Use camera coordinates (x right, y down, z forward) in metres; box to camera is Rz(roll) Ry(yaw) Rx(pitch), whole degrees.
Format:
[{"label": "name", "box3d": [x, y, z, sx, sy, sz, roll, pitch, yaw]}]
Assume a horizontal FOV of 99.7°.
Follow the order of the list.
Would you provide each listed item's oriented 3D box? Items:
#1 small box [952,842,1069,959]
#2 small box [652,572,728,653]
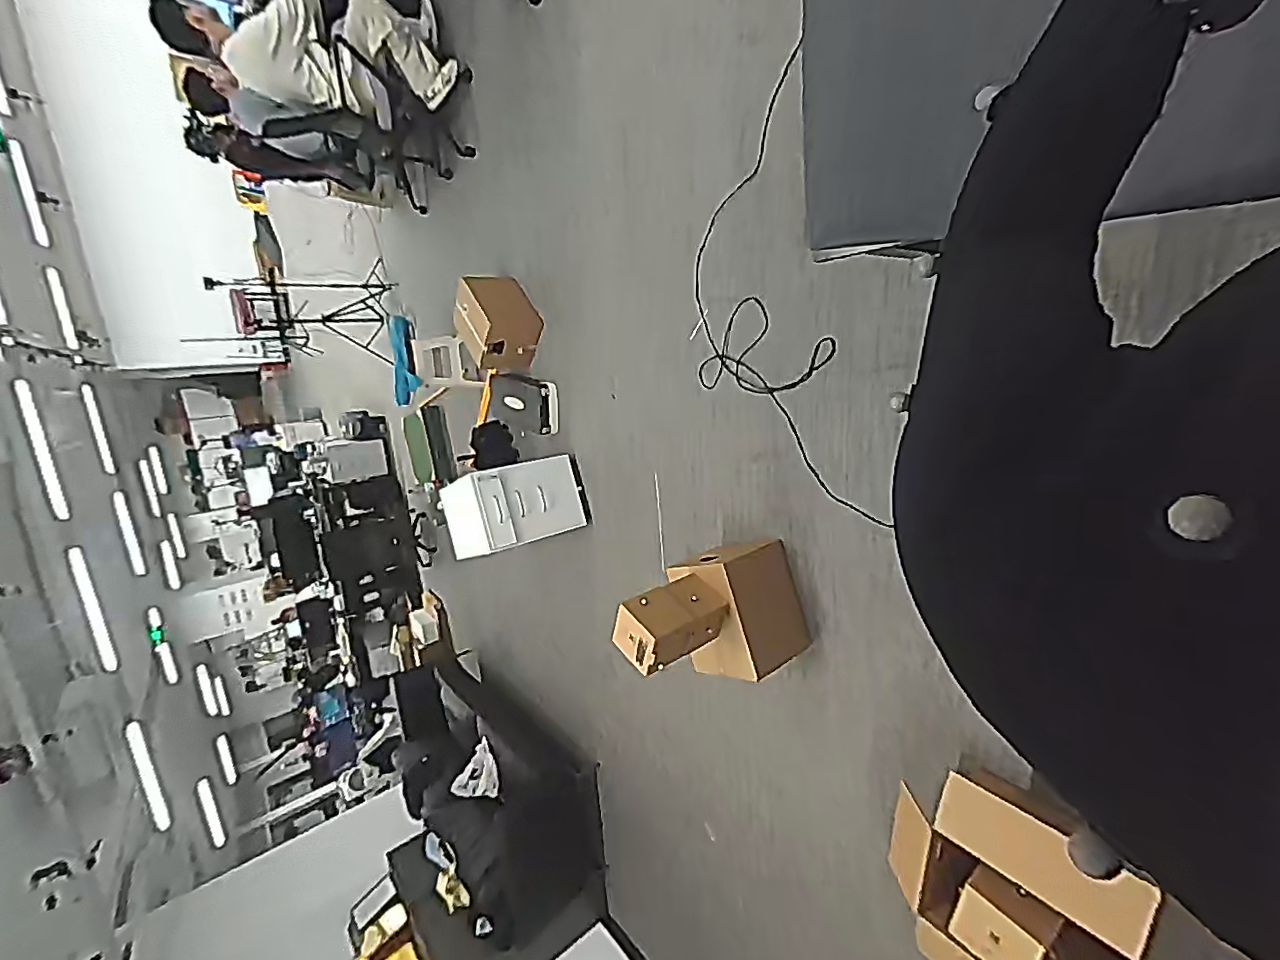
[{"label": "small box", "box3d": [0.890, 1.026, 1.297, 0.168, 0.176, 0.179, 28, 123, 48]}, {"label": "small box", "box3d": [0.170, 0.437, 1.818, 0.179, 0.176, 0.168, 36, 128, 37]}]
